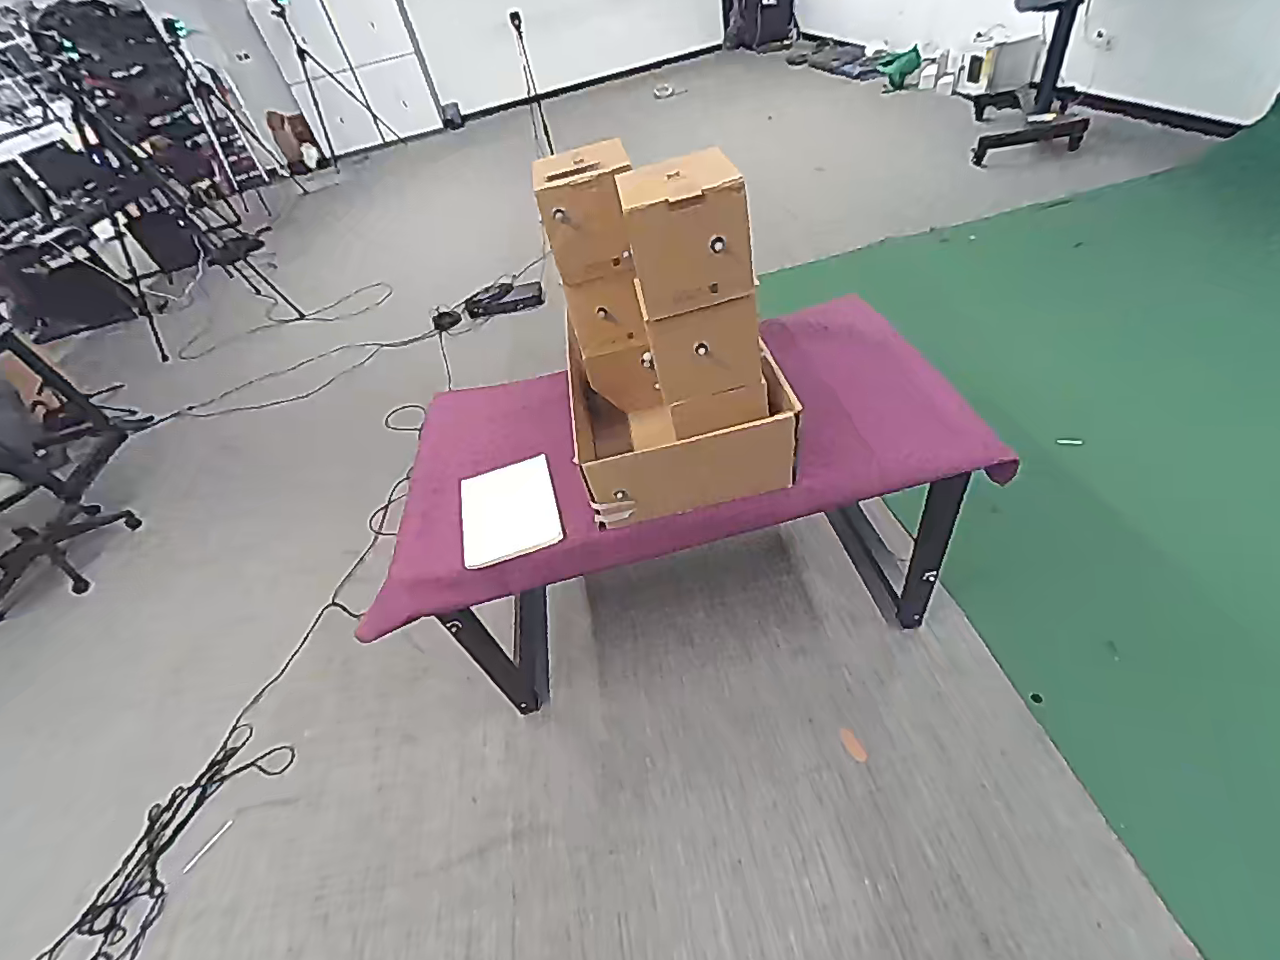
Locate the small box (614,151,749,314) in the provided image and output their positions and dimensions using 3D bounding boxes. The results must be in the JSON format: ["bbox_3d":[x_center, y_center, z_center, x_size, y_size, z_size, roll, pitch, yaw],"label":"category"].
[{"bbox_3d":[0.064,-0.372,0.829,0.168,0.176,0.179,-13,42,4],"label":"small box"}]

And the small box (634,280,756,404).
[{"bbox_3d":[0.098,-0.258,0.942,0.179,0.176,0.168,-14,43,5],"label":"small box"}]
